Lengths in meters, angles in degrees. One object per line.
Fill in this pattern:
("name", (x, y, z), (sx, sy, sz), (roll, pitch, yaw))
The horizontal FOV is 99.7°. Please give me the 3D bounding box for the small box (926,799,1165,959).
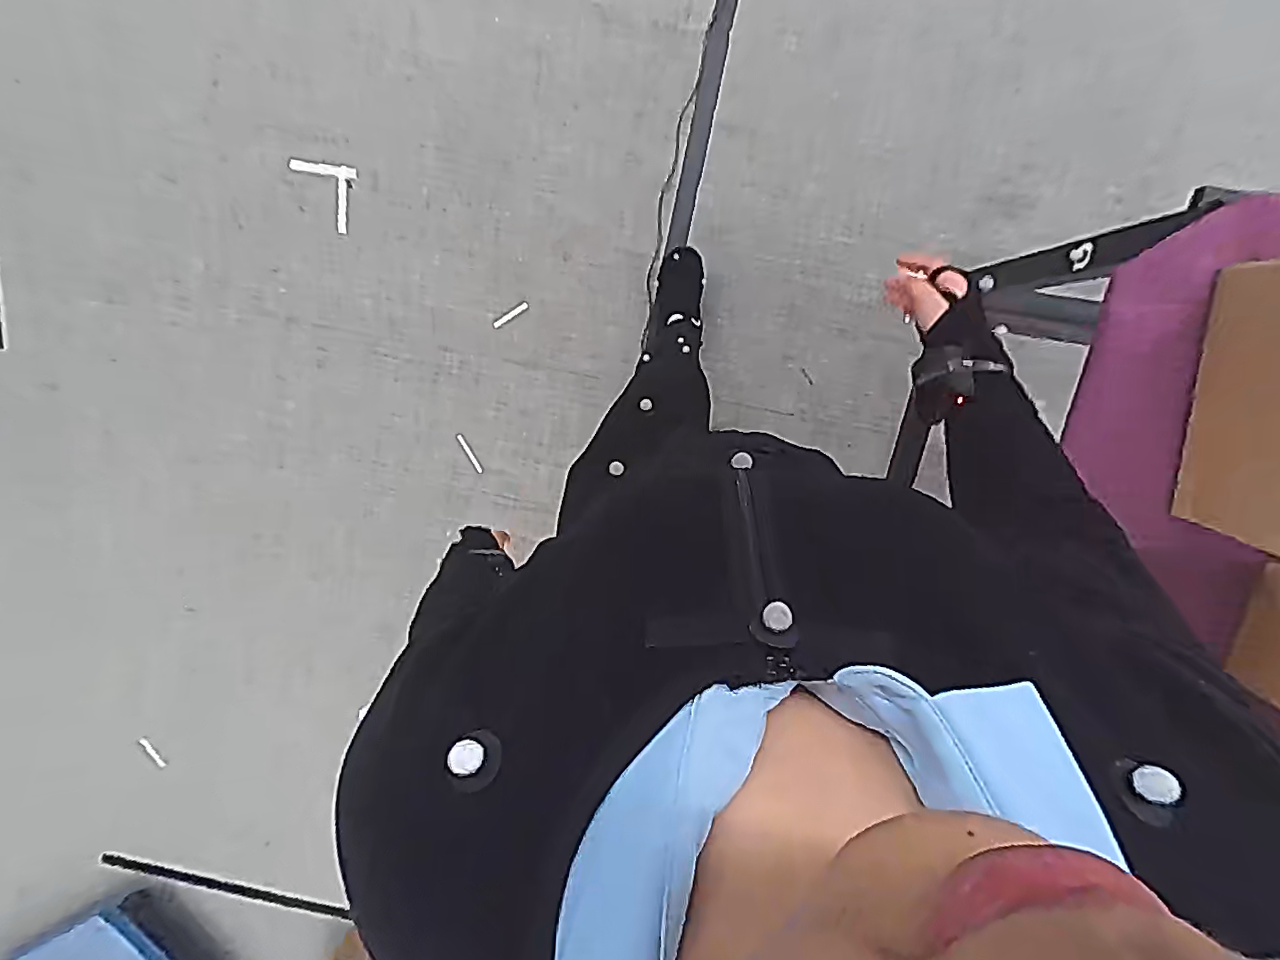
("small box", (0.536, 0.581, 0.748), (0.179, 0.176, 0.168), (14, 105, 0))
